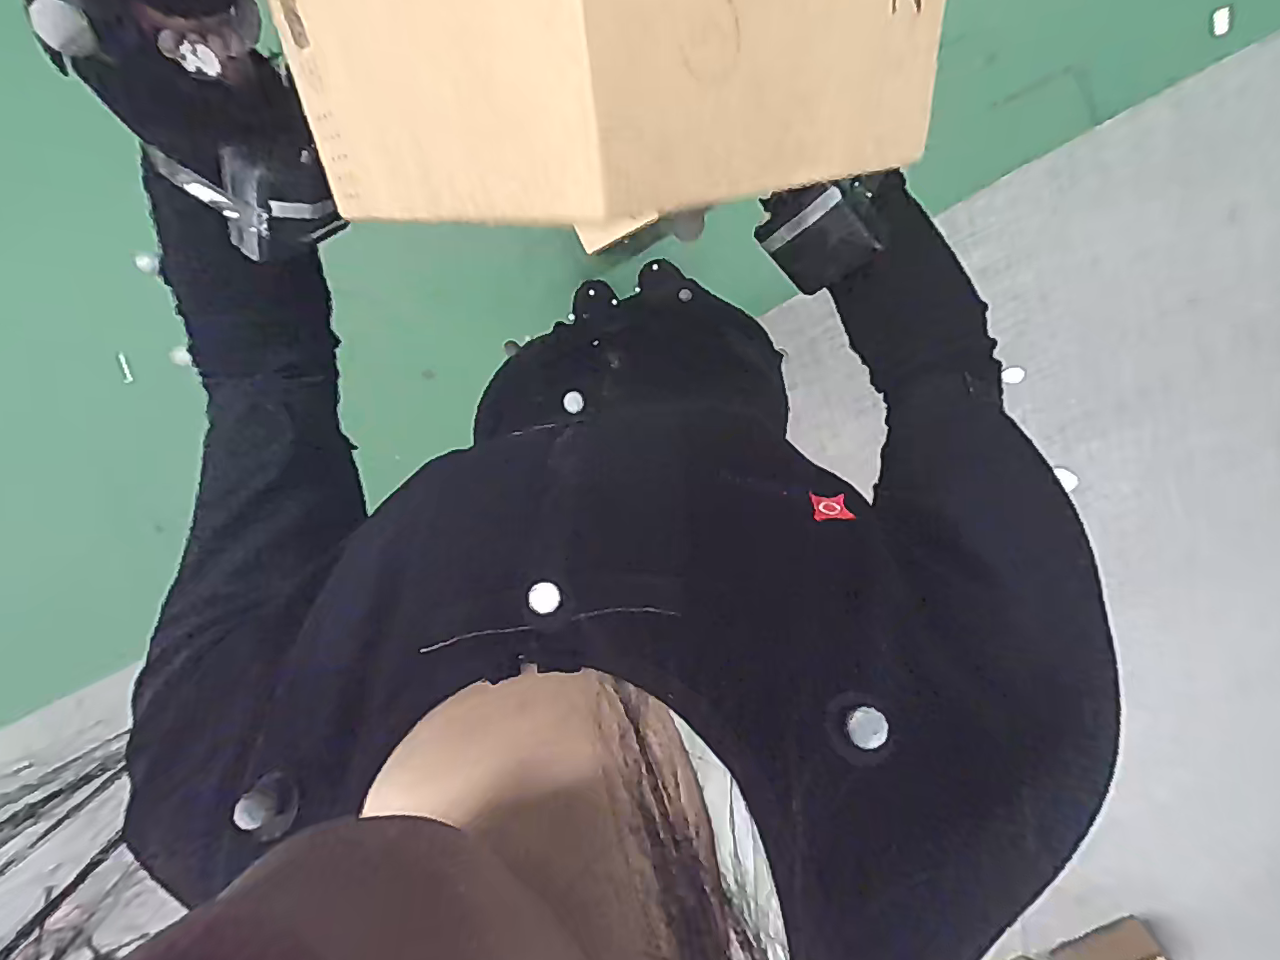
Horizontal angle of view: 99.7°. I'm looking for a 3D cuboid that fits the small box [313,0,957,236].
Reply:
[{"bbox_3d":[-0.007,-0.186,0.184,0.179,0.176,0.168,-31,131,-34],"label":"small box"}]
